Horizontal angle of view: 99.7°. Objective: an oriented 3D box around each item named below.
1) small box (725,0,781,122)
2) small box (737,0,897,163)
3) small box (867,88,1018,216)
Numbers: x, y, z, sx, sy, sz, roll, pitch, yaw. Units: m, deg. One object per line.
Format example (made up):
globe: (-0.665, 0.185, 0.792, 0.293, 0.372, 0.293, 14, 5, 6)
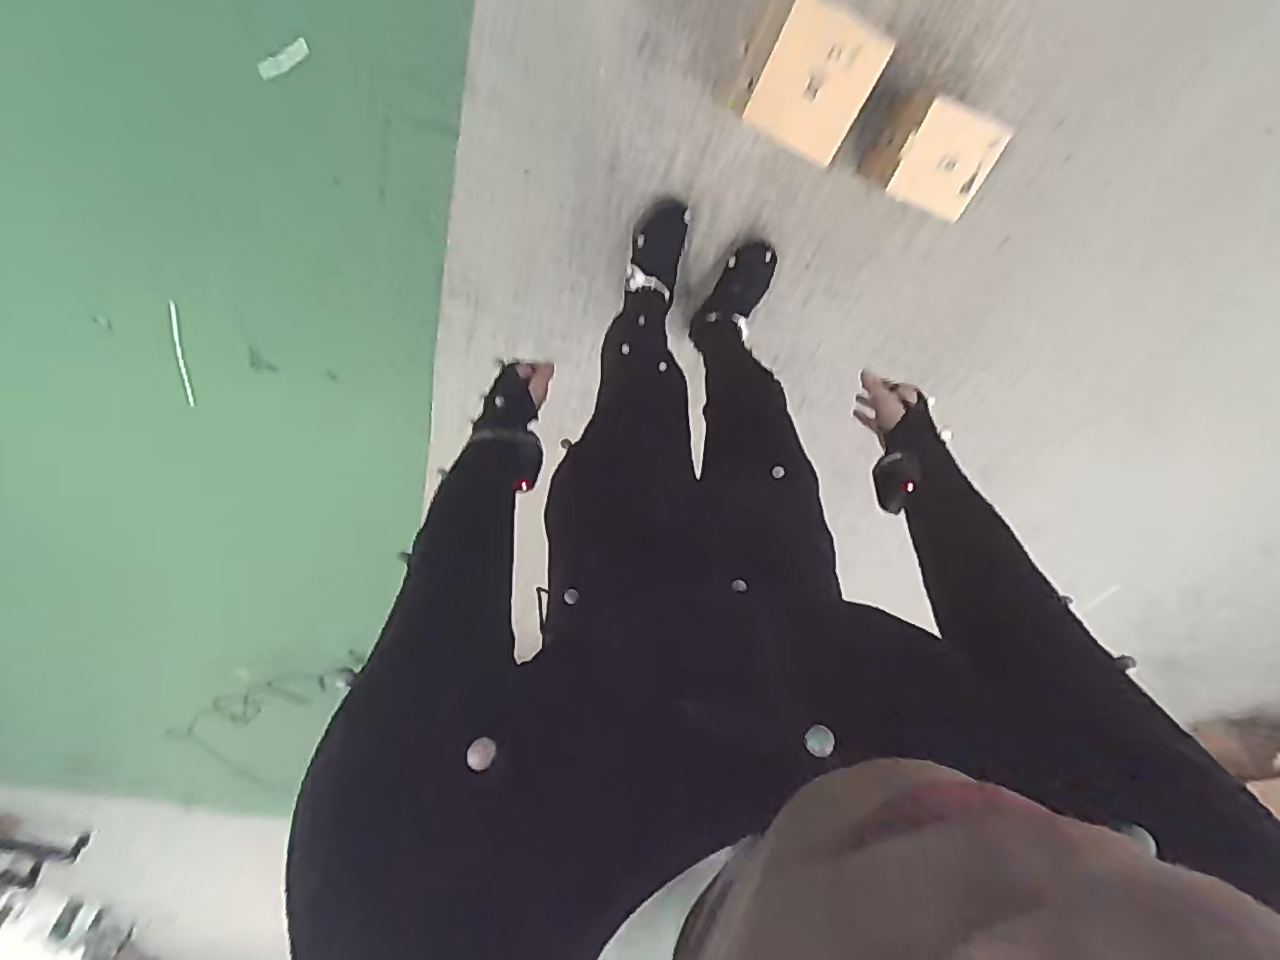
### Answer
small box: (0.270, -0.759, 1.013, 0.168, 0.176, 0.179, 18, 125, -13)
small box: (0.272, -0.657, 0.883, 0.168, 0.176, 0.179, 19, 125, -14)
small box: (0.590, -0.659, 1.085, 0.179, 0.176, 0.168, 16, 127, -10)
